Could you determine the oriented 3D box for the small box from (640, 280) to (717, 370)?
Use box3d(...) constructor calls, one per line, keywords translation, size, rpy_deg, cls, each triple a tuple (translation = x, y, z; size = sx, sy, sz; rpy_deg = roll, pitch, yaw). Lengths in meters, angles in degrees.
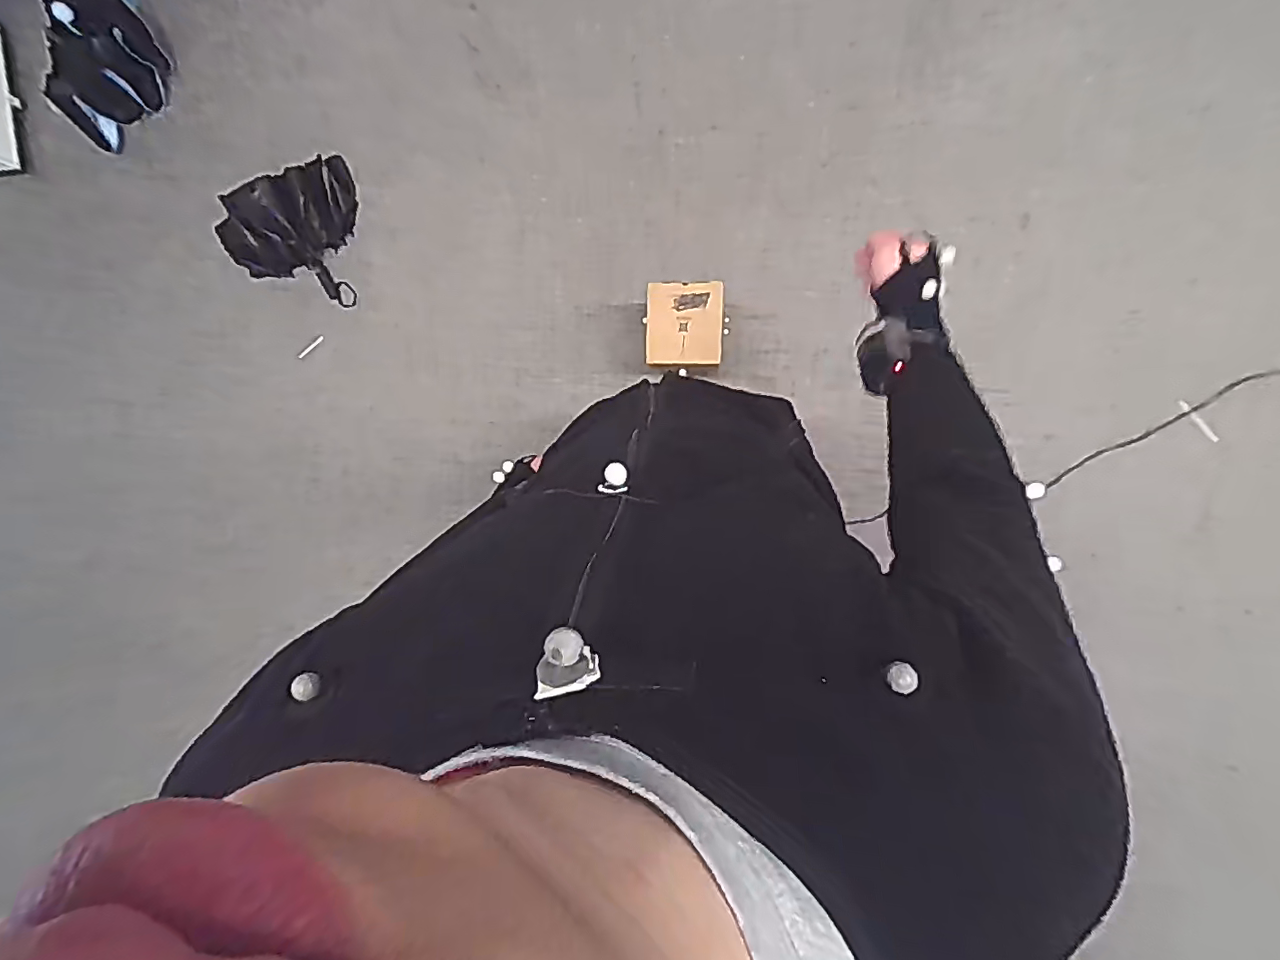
box3d(translation=(0.091, -0.355, 1.258), size=(0.168, 0.176, 0.179), rpy_deg=(2, 98, 7), cls="small box")
